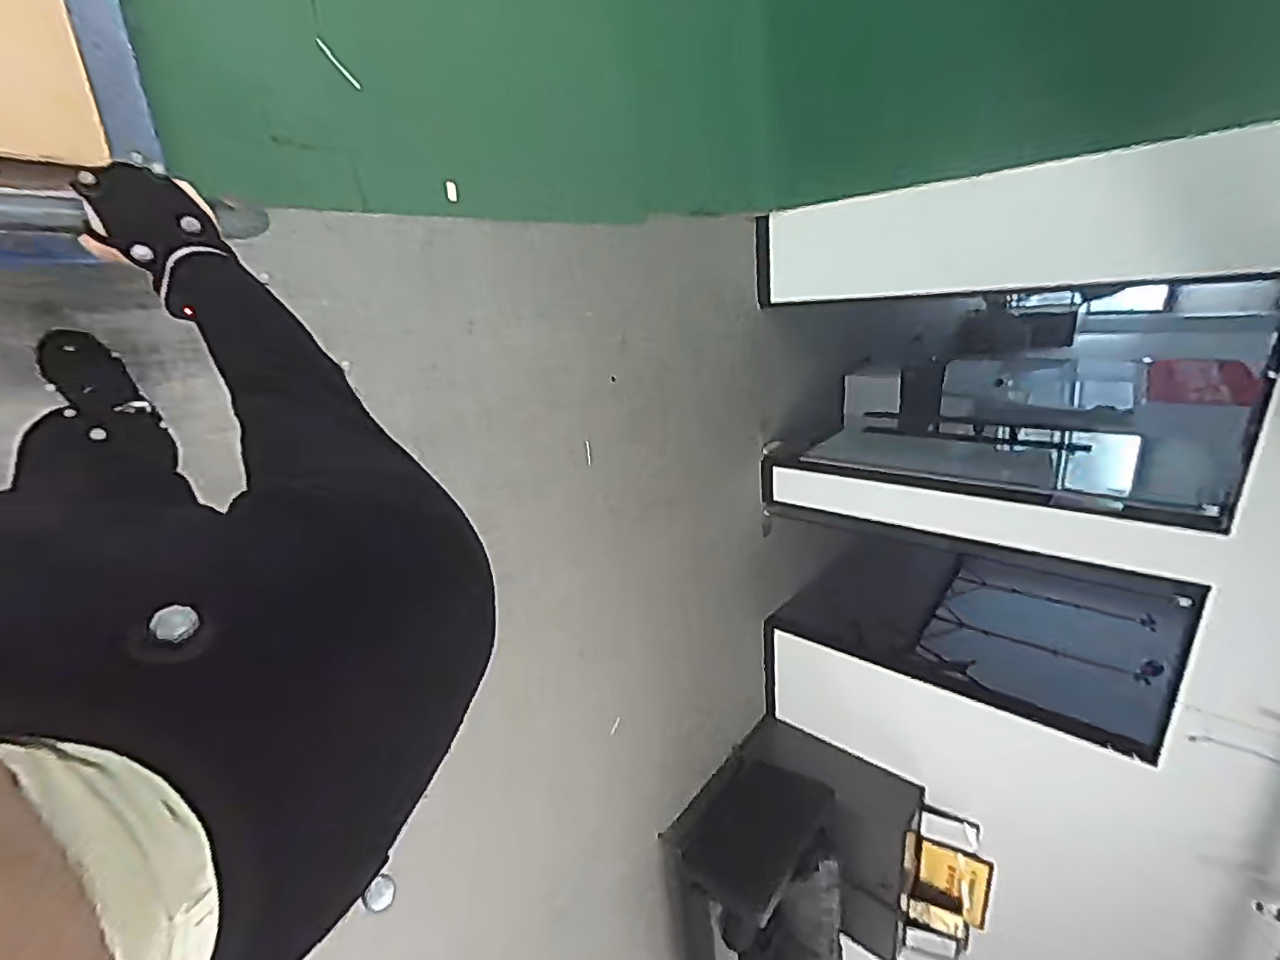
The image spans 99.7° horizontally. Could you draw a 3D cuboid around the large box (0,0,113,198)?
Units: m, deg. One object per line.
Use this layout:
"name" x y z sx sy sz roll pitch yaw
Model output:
"large box" -0.984 -0.631 0.716 0.320 0.320 0.408 -21 114 -45
